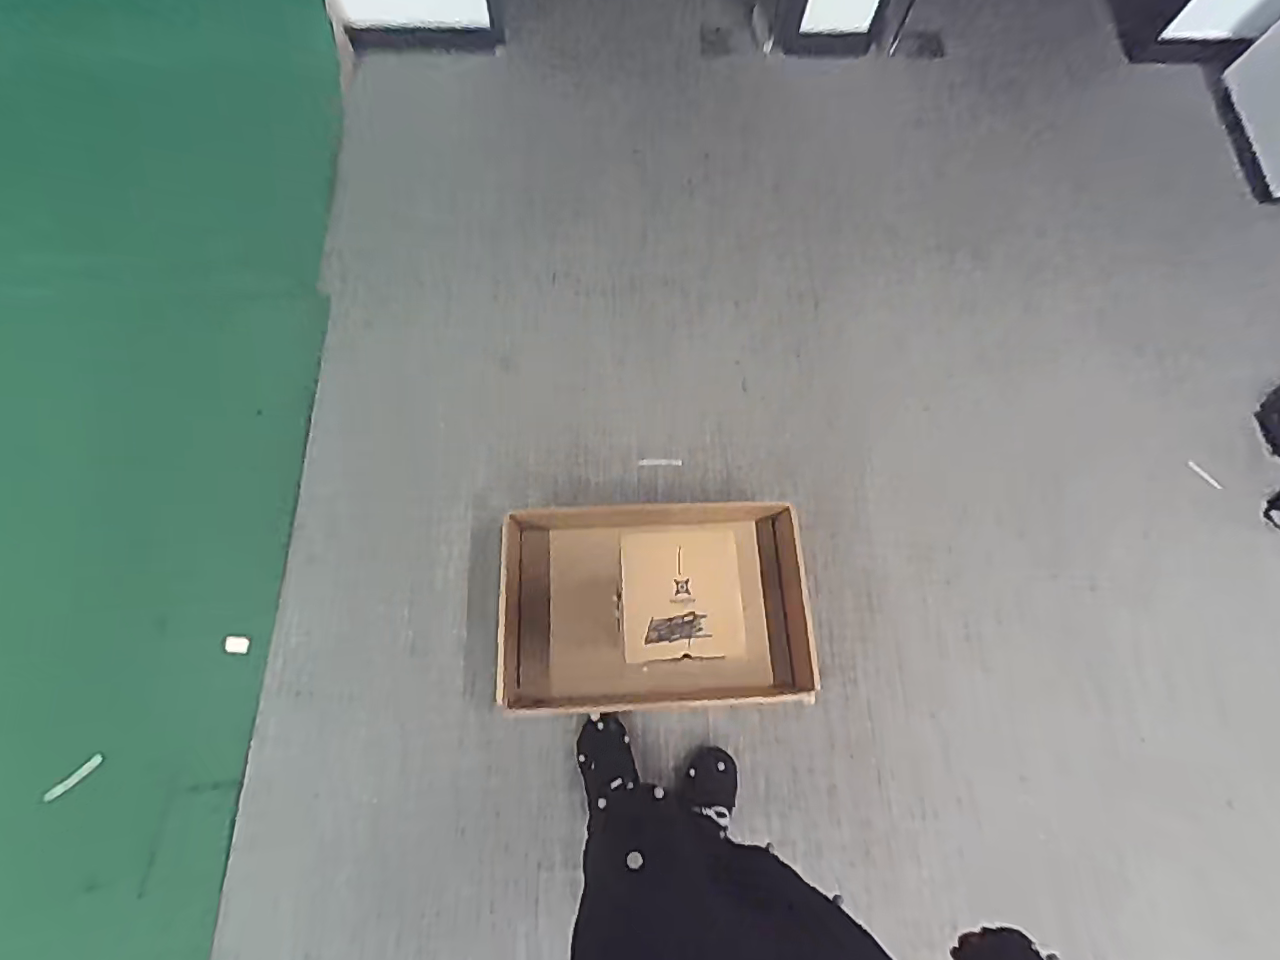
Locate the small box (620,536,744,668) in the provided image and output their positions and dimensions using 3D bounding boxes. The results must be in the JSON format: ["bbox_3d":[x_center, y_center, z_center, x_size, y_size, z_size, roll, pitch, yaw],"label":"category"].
[{"bbox_3d":[0.055,0.190,0.824,0.168,0.176,0.179,-2,70,-3],"label":"small box"}]
